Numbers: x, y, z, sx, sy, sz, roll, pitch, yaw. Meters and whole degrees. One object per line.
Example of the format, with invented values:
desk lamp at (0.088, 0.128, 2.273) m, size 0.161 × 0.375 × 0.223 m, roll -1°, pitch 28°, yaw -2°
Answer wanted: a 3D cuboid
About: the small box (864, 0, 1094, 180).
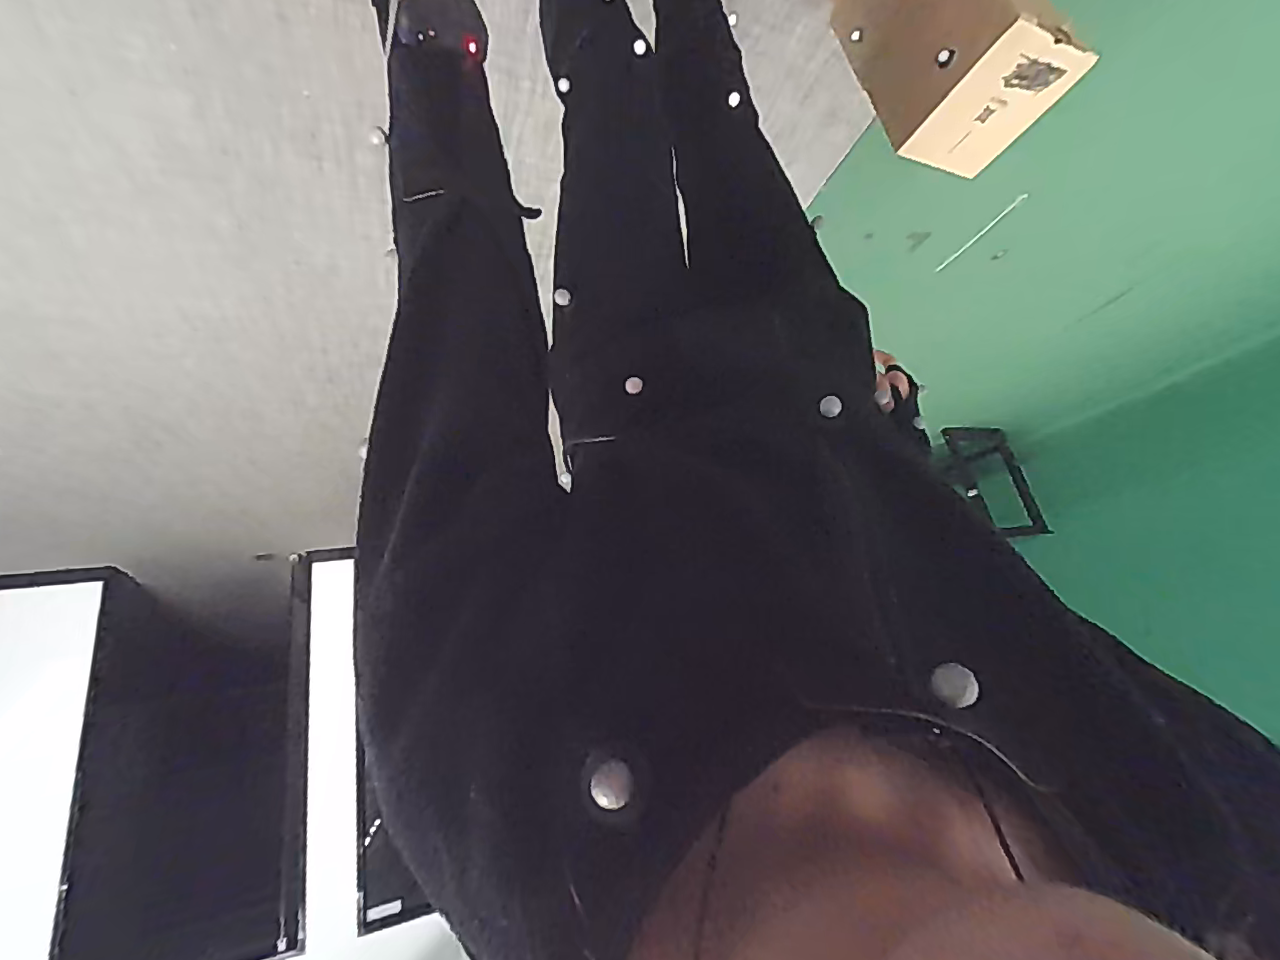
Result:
small box at (0.437, -0.551, 0.723) m, size 0.168 × 0.176 × 0.179 m, roll -2°, pitch 159°, yaw -26°
